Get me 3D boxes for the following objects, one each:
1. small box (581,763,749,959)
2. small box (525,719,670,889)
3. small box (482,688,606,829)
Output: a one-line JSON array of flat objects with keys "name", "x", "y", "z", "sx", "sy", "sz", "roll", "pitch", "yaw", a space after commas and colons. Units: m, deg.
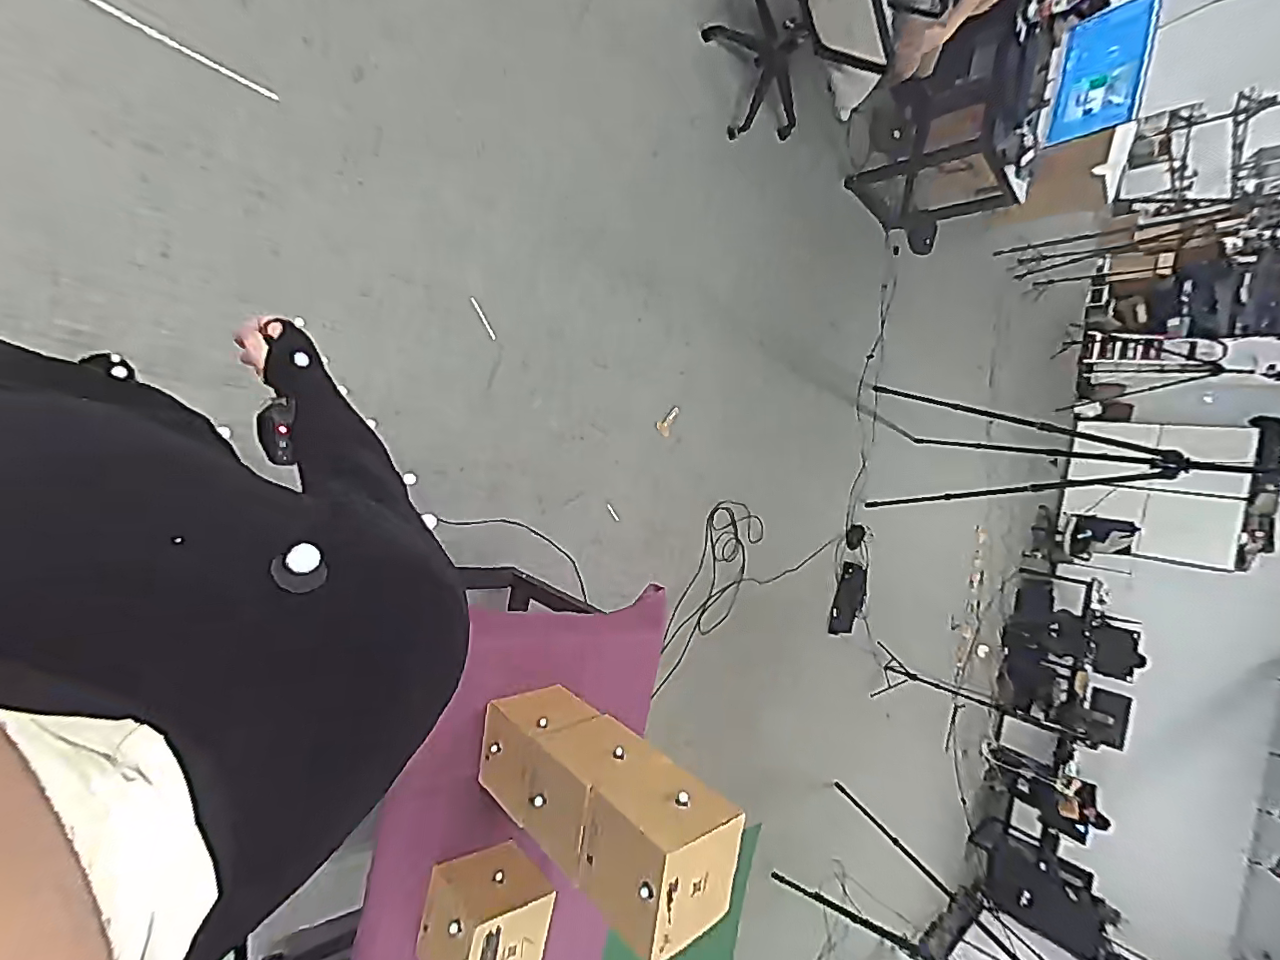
[{"name": "small box", "x": 0.037, "y": 0.566, "z": 0.824, "sx": 0.179, "sy": 0.176, "sz": 0.168, "roll": 7, "pitch": 93, "yaw": -44}, {"name": "small box", "x": -0.075, "y": 0.544, "z": 0.943, "sx": 0.179, "sy": 0.176, "sz": 0.168, "roll": 4, "pitch": 95, "yaw": -43}, {"name": "small box", "x": -0.185, "y": 0.530, "z": 1.064, "sx": 0.179, "sy": 0.176, "sz": 0.168, "roll": 5, "pitch": 94, "yaw": -42}]
